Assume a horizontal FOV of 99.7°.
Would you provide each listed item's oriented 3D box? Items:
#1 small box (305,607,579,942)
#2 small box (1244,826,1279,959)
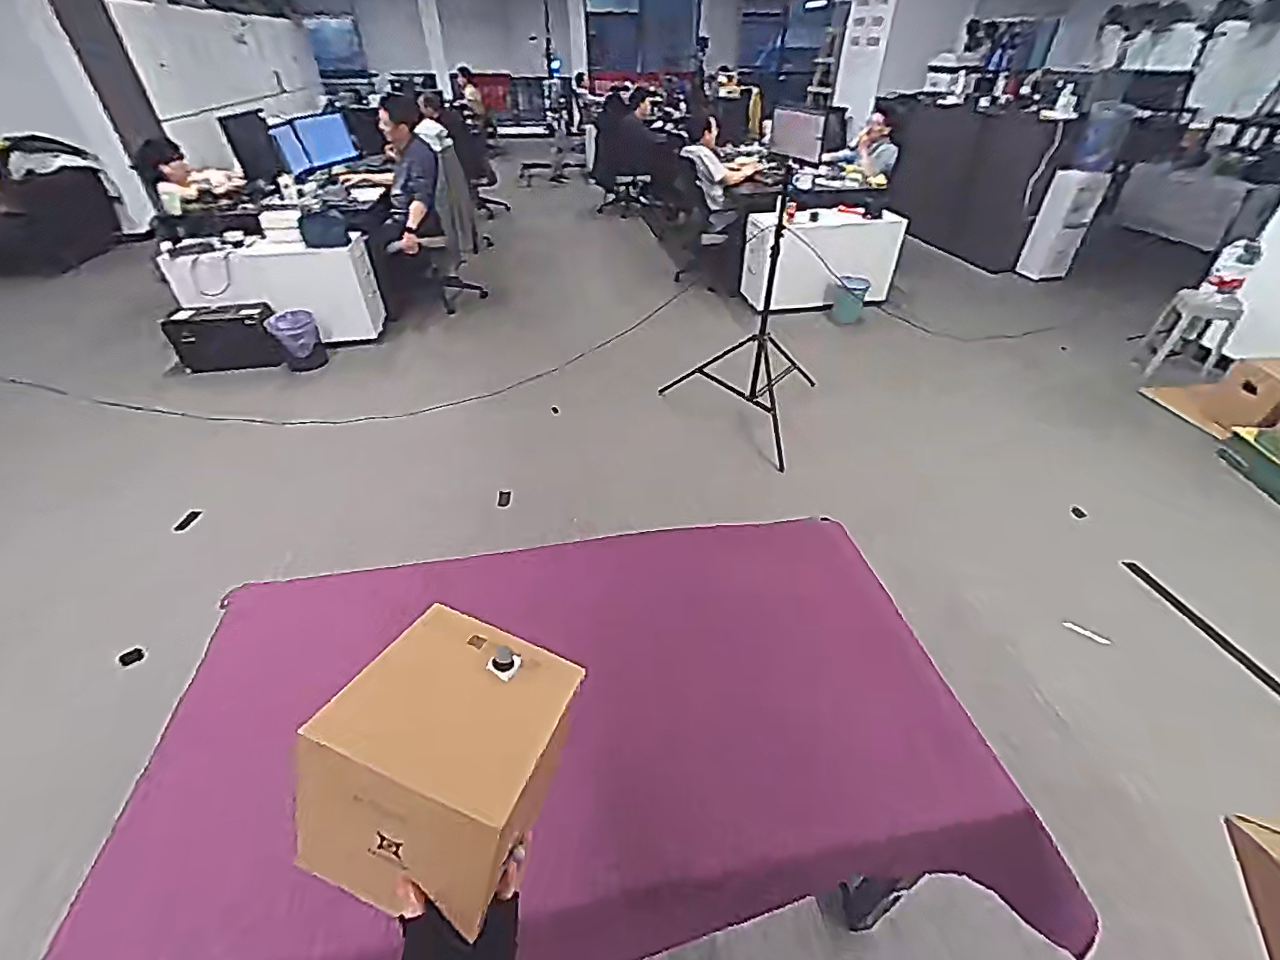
[{"bbox_3d":[-0.168,0.252,0.494,0.168,0.179,0.176,18,24,9],"label":"small box"},{"bbox_3d":[0.390,0.246,0.199,0.168,0.176,0.179,-15,-12,25],"label":"small box"}]
